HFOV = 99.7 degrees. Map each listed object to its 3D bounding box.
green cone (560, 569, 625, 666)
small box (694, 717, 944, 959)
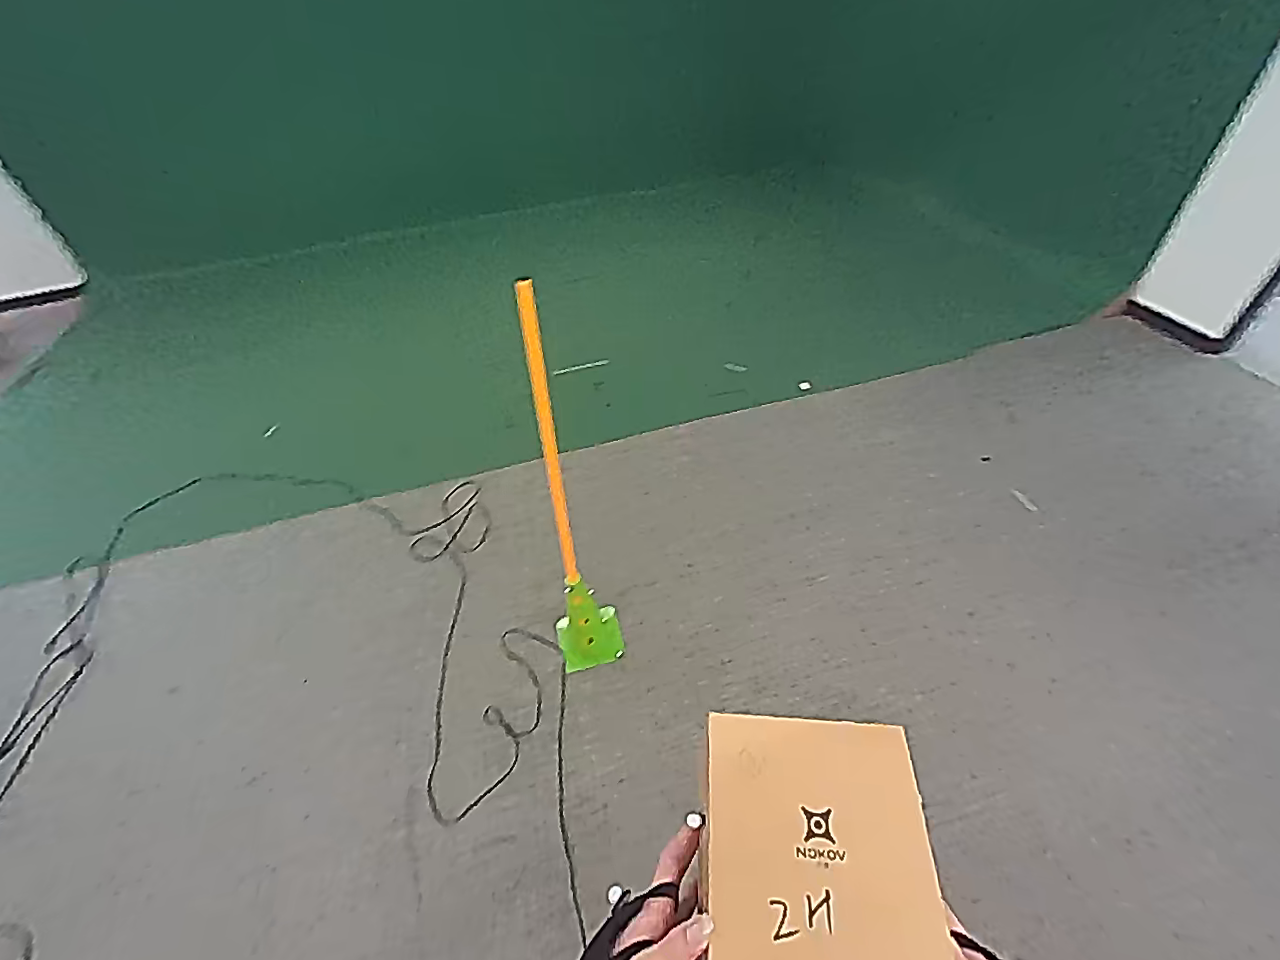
[{"bbox_3d":[-0.178,0.390,1.680,0.202,0.368,0.200,-13,46,-5],"label":"green cone"},{"bbox_3d":[0.134,0.331,0.477,0.168,0.176,0.179,2,50,5],"label":"small box"}]
